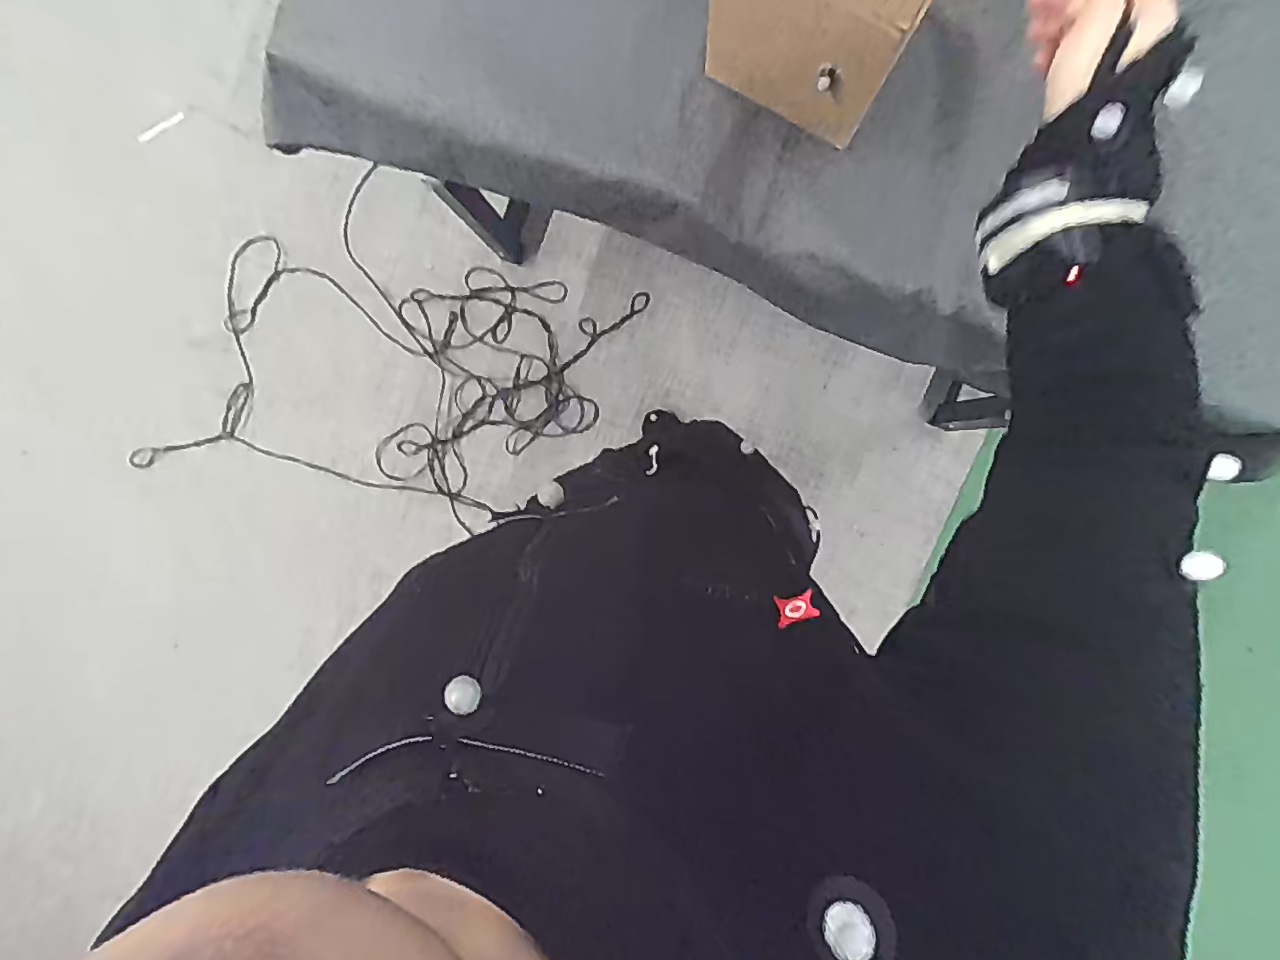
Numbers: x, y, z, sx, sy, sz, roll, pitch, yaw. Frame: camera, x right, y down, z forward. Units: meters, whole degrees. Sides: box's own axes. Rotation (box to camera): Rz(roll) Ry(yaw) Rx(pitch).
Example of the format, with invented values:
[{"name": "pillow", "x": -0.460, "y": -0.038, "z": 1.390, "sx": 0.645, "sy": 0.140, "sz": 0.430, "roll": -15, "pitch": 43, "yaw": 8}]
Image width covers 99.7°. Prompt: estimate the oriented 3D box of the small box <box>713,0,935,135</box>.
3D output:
[{"name": "small box", "x": 0.184, "y": -0.464, "z": 0.499, "sx": 0.179, "sy": 0.176, "sz": 0.168, "roll": 30, "pitch": 94, "yaw": 3}]
